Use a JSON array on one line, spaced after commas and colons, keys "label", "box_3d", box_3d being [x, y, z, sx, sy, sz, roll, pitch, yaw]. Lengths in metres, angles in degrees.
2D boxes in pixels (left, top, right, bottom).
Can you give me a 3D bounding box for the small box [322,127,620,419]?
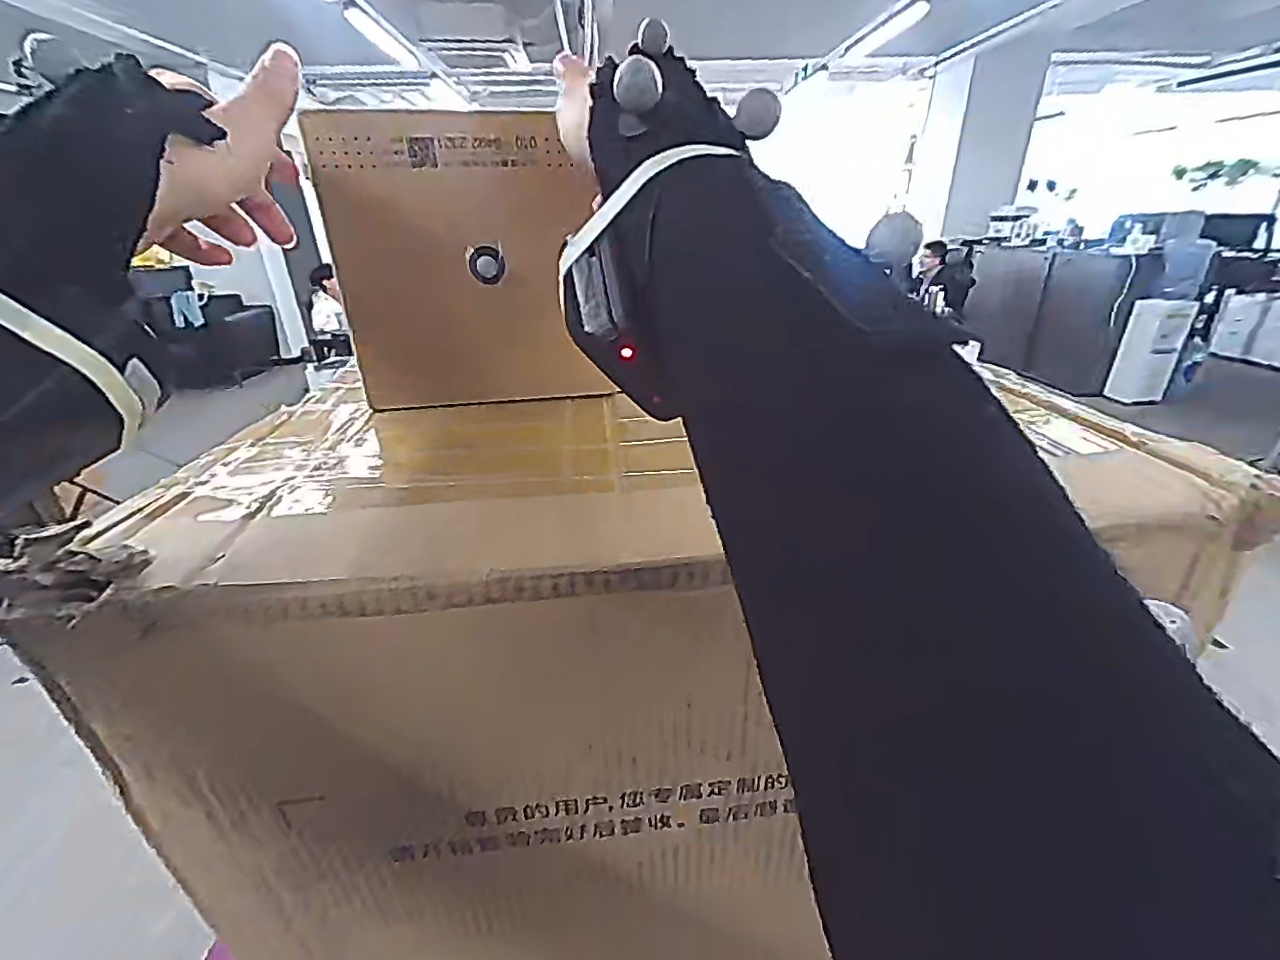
[{"label": "small box", "box_3d": [-0.111, -0.159, 0.410, 0.168, 0.176, 0.179, -5, 27, -9]}]
